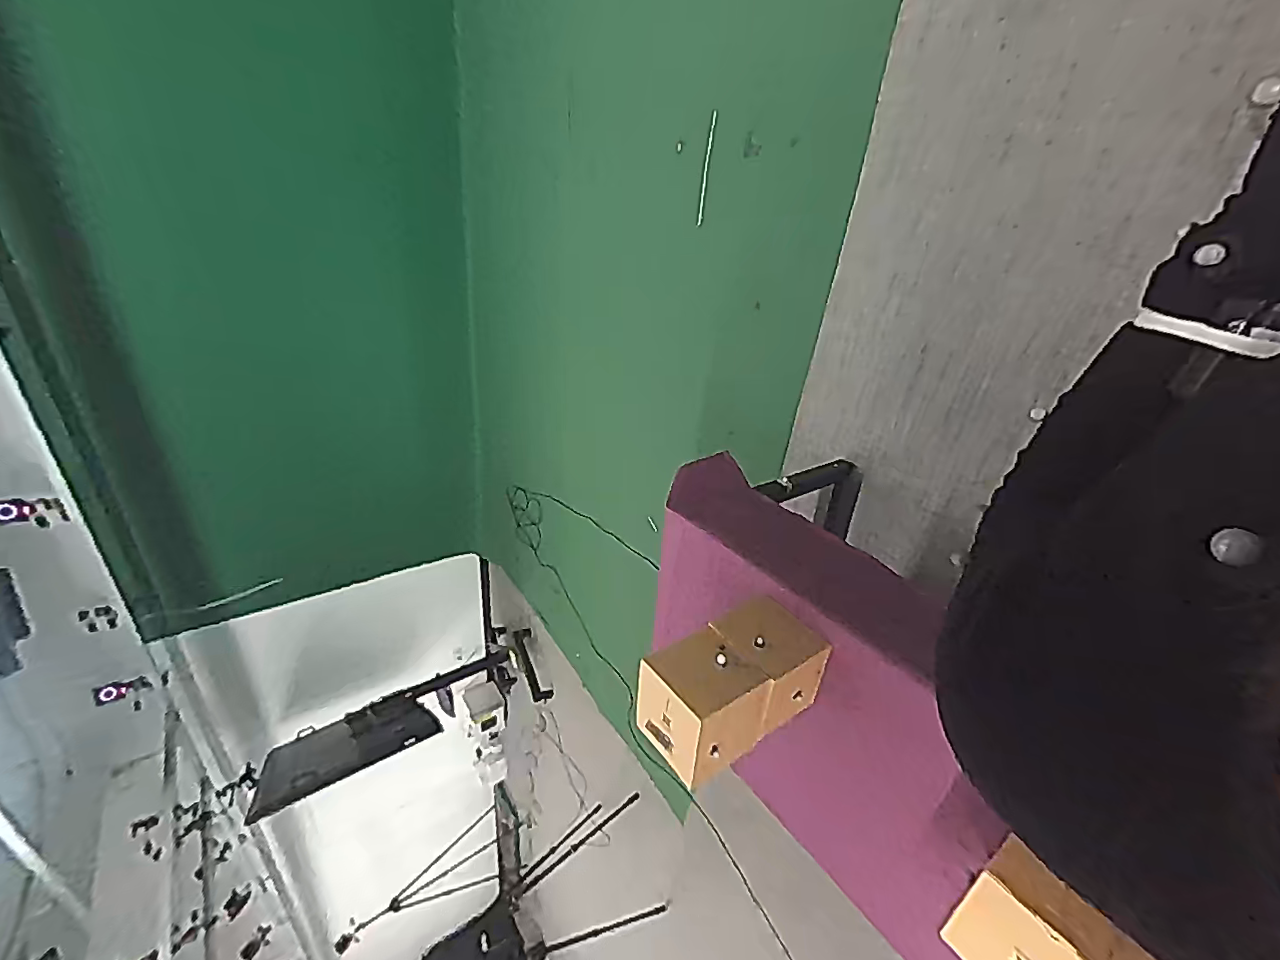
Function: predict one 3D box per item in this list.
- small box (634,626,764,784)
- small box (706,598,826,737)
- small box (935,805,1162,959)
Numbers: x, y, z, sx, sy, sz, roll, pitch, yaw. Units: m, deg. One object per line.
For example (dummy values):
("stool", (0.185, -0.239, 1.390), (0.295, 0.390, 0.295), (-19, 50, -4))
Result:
("small box", (0.107, 0.405, 0.999), (0.168, 0.176, 0.179), (34, 128, 45))
("small box", (0.241, 0.364, 1.085), (0.179, 0.176, 0.168), (37, 130, 44))
("small box", (0.542, 0.589, 0.724), (0.168, 0.176, 0.179), (37, 130, 44))
